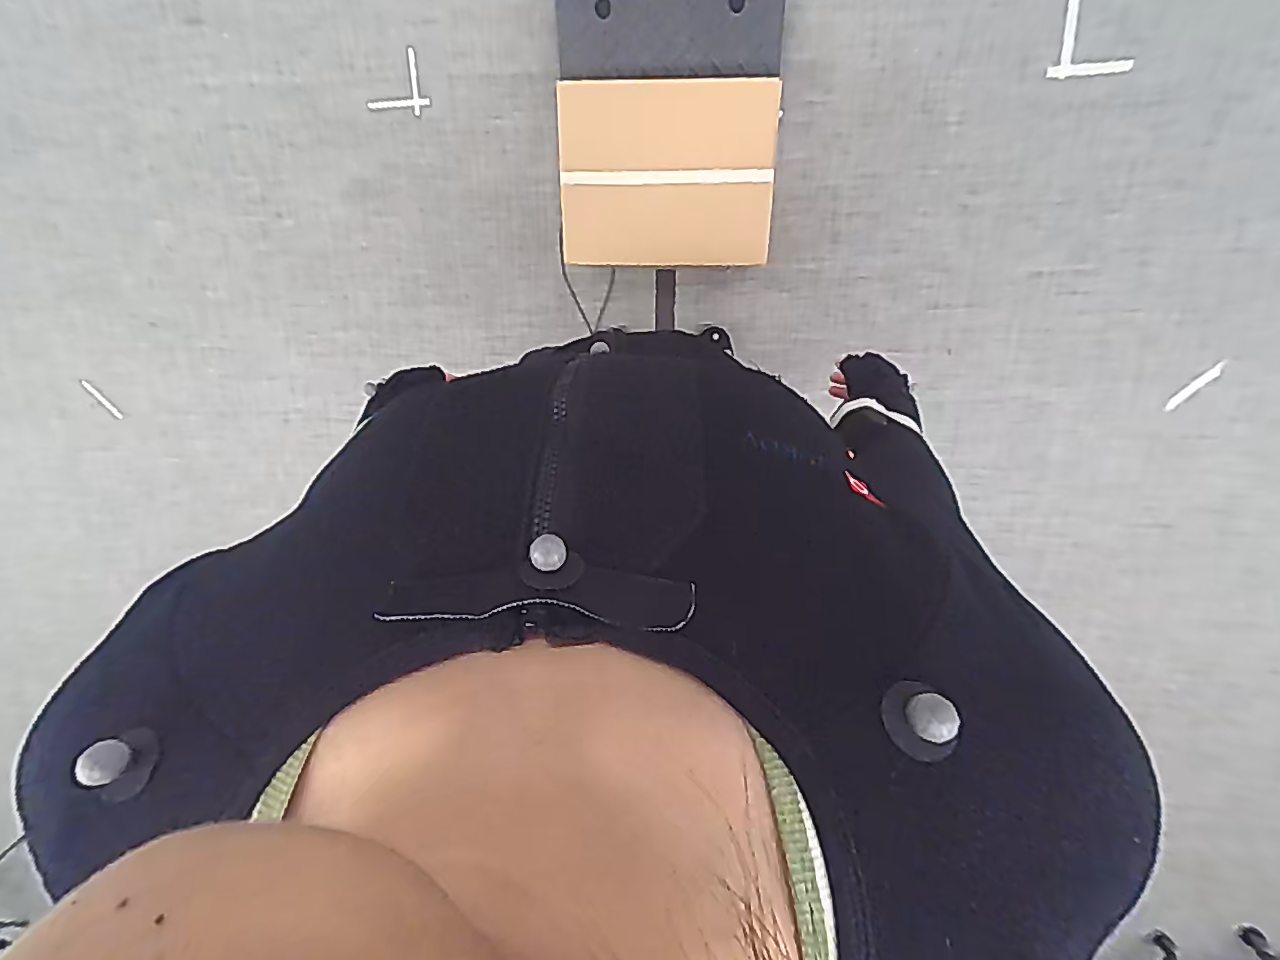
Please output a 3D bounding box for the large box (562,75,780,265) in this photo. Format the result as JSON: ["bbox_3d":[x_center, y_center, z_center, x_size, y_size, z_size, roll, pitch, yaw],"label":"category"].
[{"bbox_3d":[0.067,-0.633,1.166,0.408,0.320,0.320,2,110,4],"label":"large box"}]

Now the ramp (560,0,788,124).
[{"bbox_3d":[0.068,-1.214,1.063,0.509,0.206,0.991,-1,107,3],"label":"ramp"}]
